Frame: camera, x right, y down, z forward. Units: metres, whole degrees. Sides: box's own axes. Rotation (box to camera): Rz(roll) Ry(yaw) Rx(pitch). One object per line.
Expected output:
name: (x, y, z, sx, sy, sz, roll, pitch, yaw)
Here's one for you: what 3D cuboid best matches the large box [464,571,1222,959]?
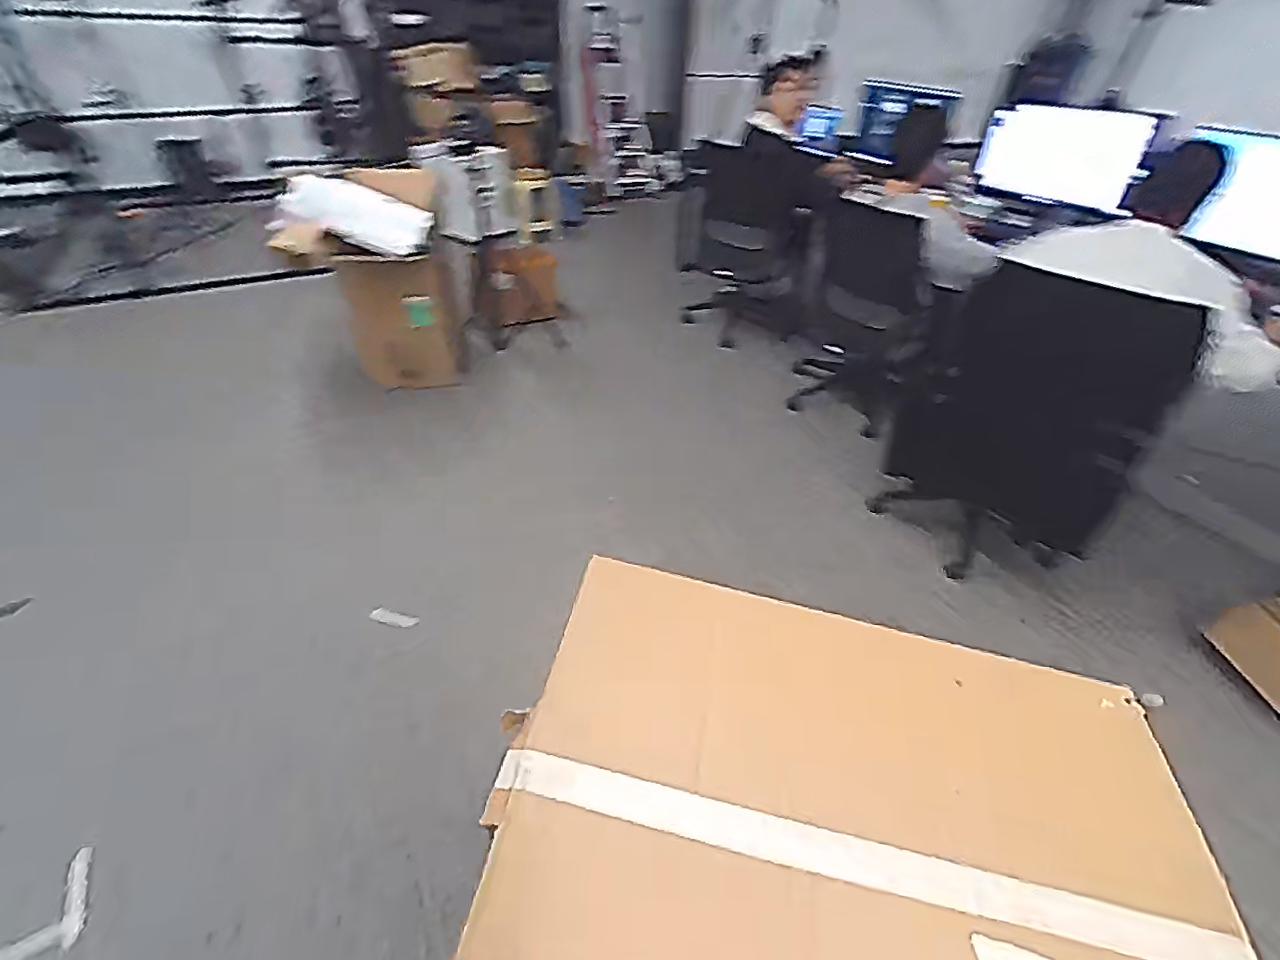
large box: (0.100, 0.318, 0.407, 0.408, 0.320, 0.320, 13, 45, 1)
